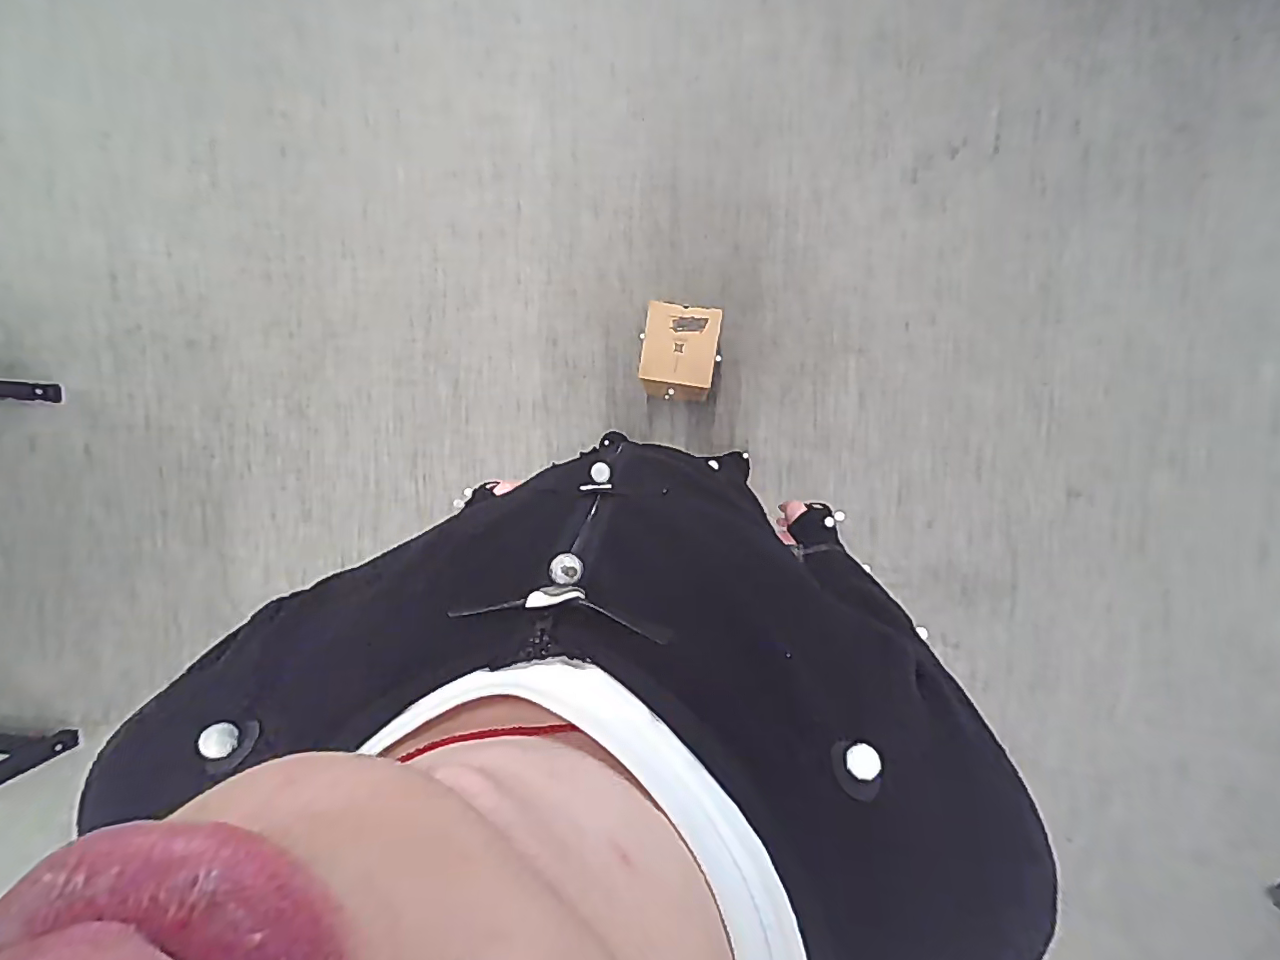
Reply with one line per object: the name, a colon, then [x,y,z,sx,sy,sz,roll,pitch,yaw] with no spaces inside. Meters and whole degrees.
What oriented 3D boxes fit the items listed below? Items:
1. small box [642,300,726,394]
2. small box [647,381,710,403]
small box: [0.102,-0.308,1.282,0.168,0.176,0.179,10,95,4]
small box: [0.113,-0.310,1.447,0.168,0.176,0.179,8,94,4]
